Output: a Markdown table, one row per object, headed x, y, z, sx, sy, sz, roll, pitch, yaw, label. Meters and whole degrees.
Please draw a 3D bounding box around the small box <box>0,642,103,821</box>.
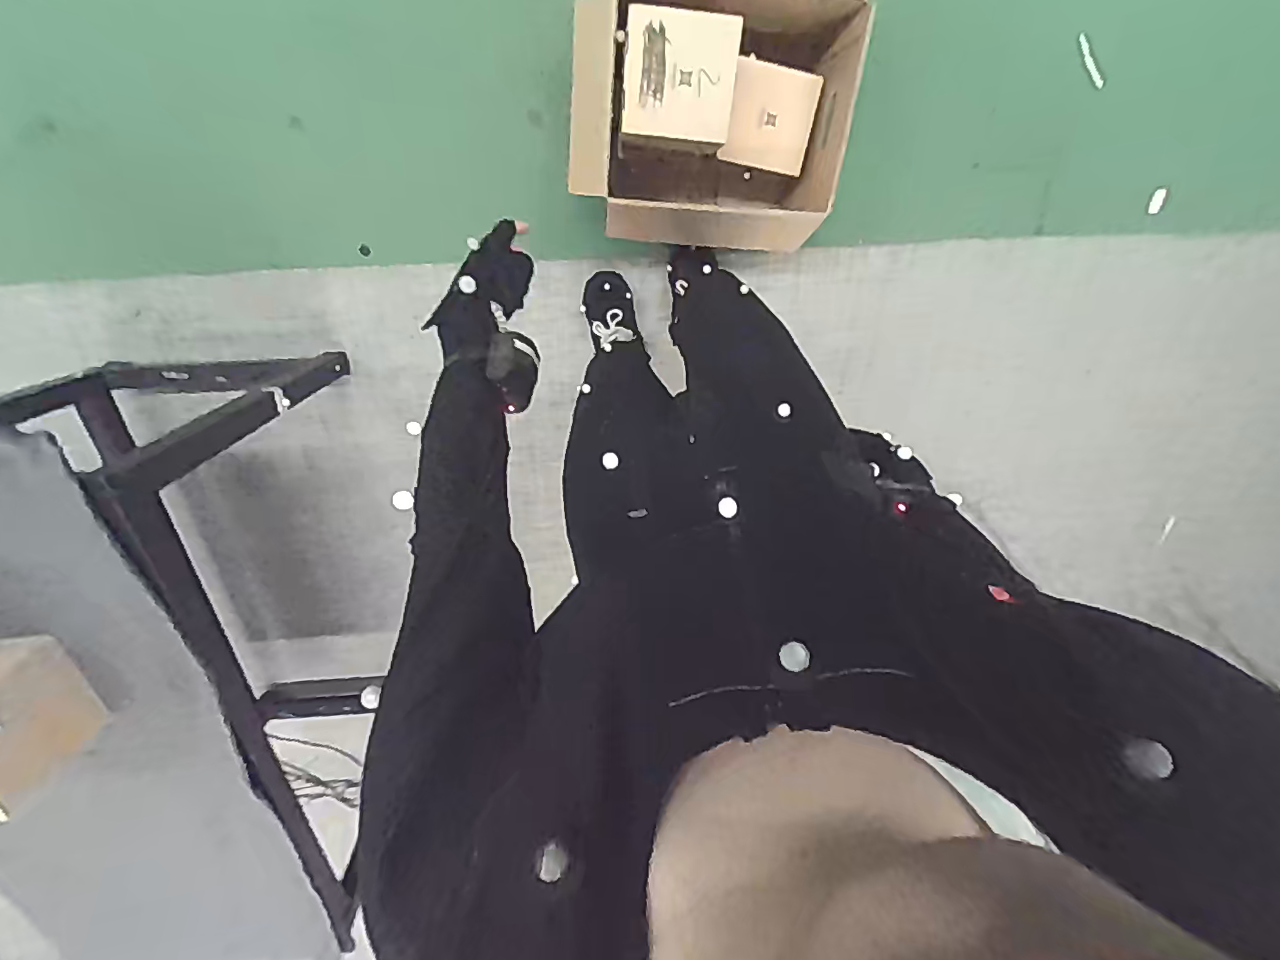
| x | y | z | sx | sy | sz | roll | pitch | yaw | label |
| --- | --- | --- | --- | --- | --- | --- | --- | --- | --- |
| -0.919 | 0.339 | 0.740 | 0.168 | 0.176 | 0.179 | -4 | 117 | -1 | small box |
